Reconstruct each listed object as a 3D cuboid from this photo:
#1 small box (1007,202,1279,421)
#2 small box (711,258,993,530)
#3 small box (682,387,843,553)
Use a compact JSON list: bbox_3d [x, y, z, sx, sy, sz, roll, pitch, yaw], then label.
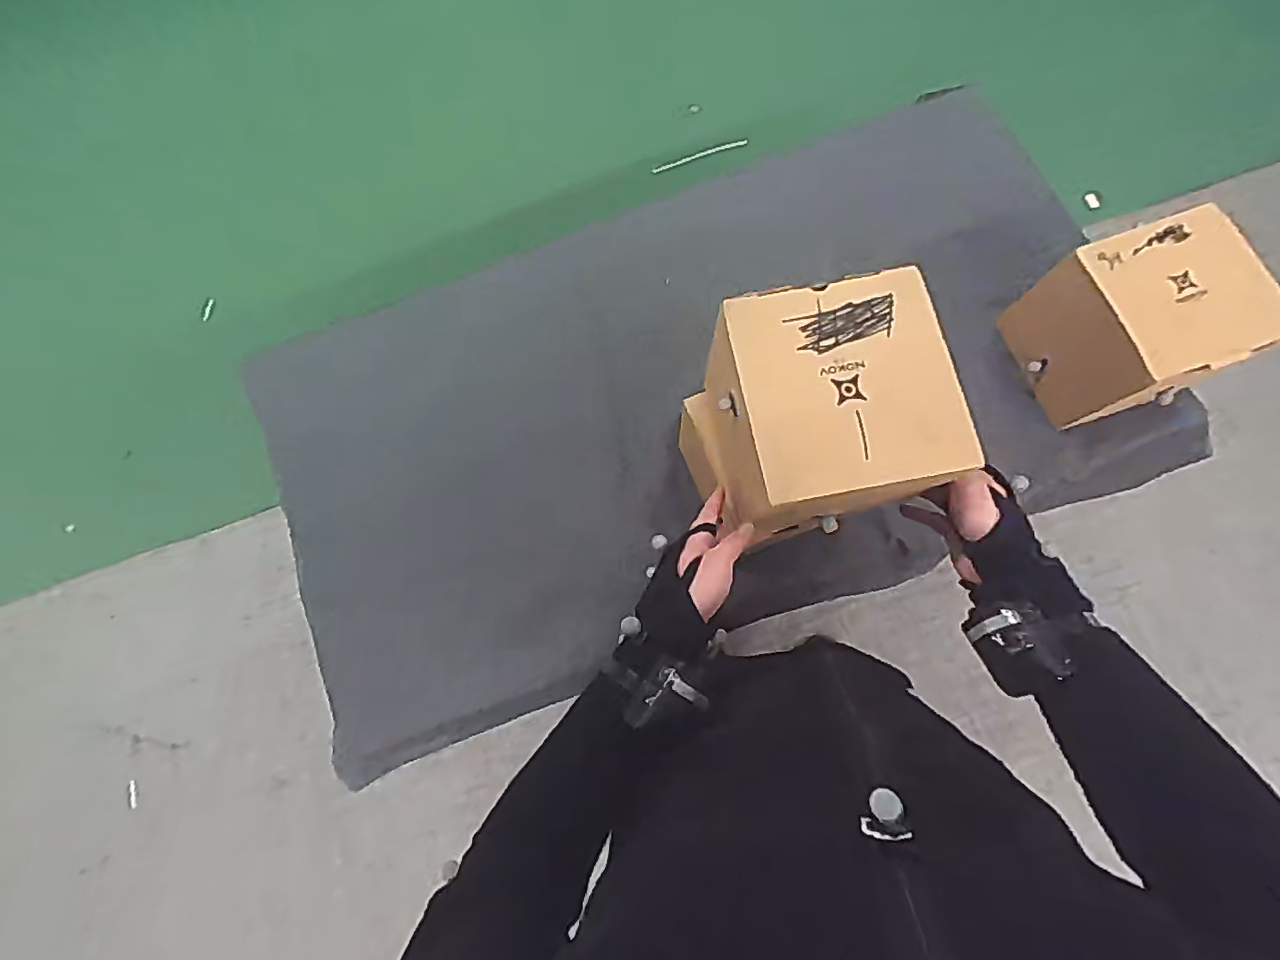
[{"bbox_3d":[0.600,-0.186,0.656,0.168,0.176,0.179,-18,76,1],"label":"small box"},{"bbox_3d":[0.164,-0.063,0.487,0.168,0.176,0.179,-10,76,0],"label":"small box"},{"bbox_3d":[0.157,-0.020,0.646,0.168,0.176,0.179,-21,74,-3],"label":"small box"}]
